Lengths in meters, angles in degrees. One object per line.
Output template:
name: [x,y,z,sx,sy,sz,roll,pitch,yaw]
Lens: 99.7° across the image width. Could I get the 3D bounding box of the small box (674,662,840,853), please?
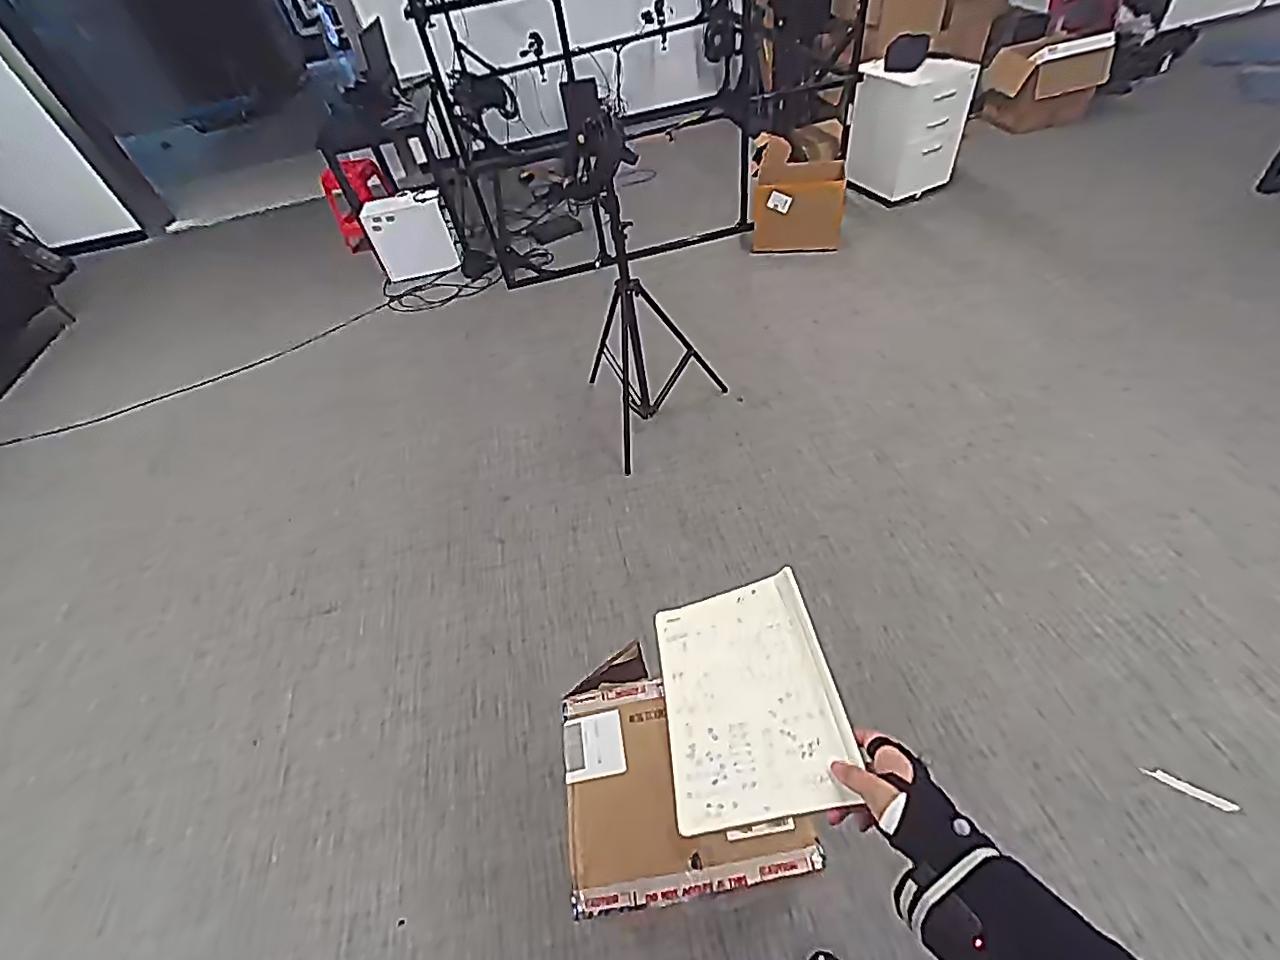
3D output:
small box: [0.136,0.362,0.703,0.168,0.176,0.179,-8,50,0]
